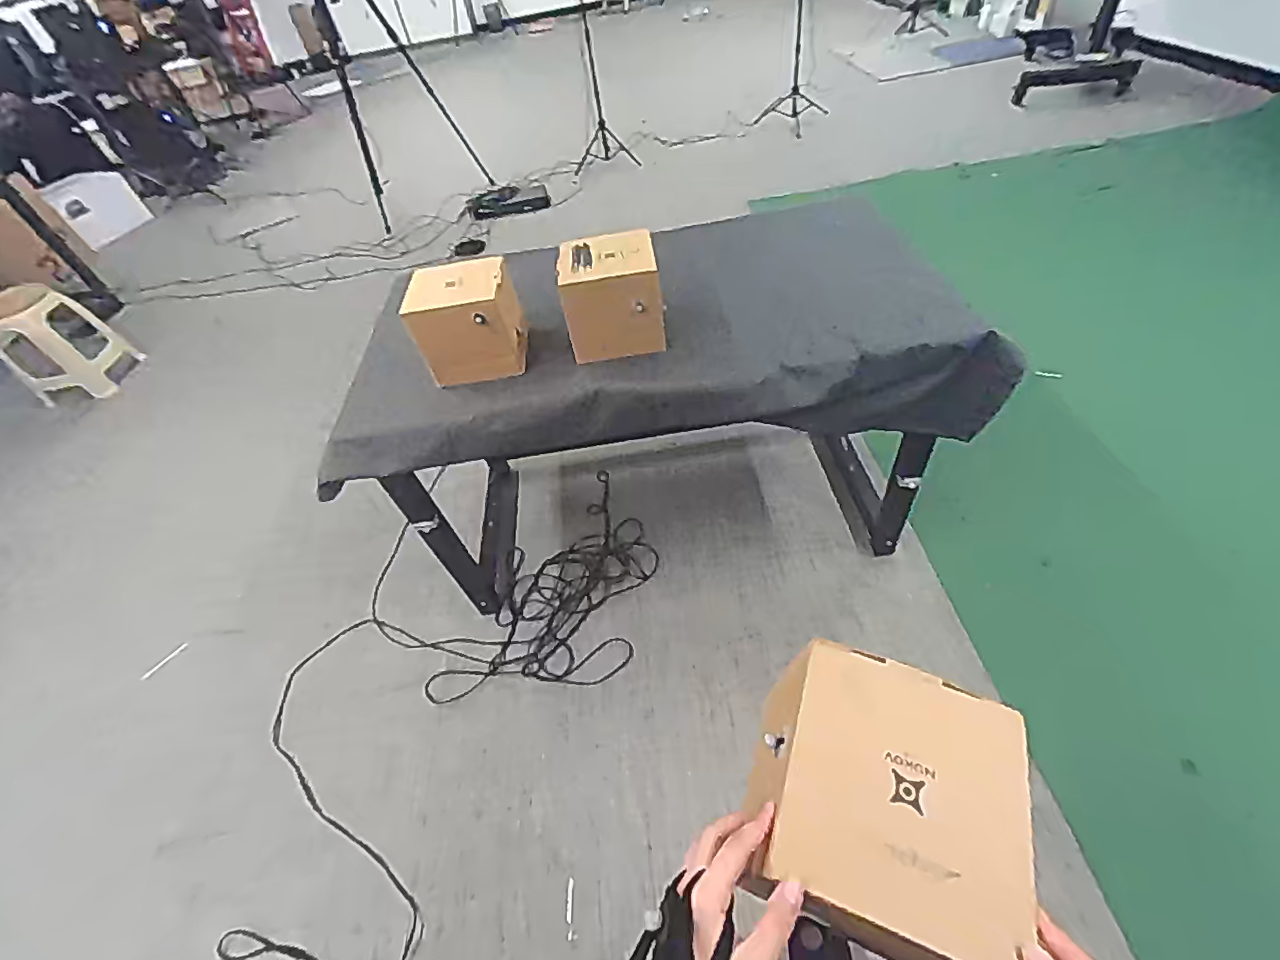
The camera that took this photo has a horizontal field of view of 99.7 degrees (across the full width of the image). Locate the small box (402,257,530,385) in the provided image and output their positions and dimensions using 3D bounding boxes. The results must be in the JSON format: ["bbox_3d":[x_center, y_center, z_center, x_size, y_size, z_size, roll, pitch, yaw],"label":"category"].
[{"bbox_3d":[-0.325,-0.302,1.047,0.179,0.176,0.168,-9,48,2],"label":"small box"}]

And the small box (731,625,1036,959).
[{"bbox_3d":[0.184,0.256,0.445,0.168,0.176,0.179,19,53,11],"label":"small box"}]
